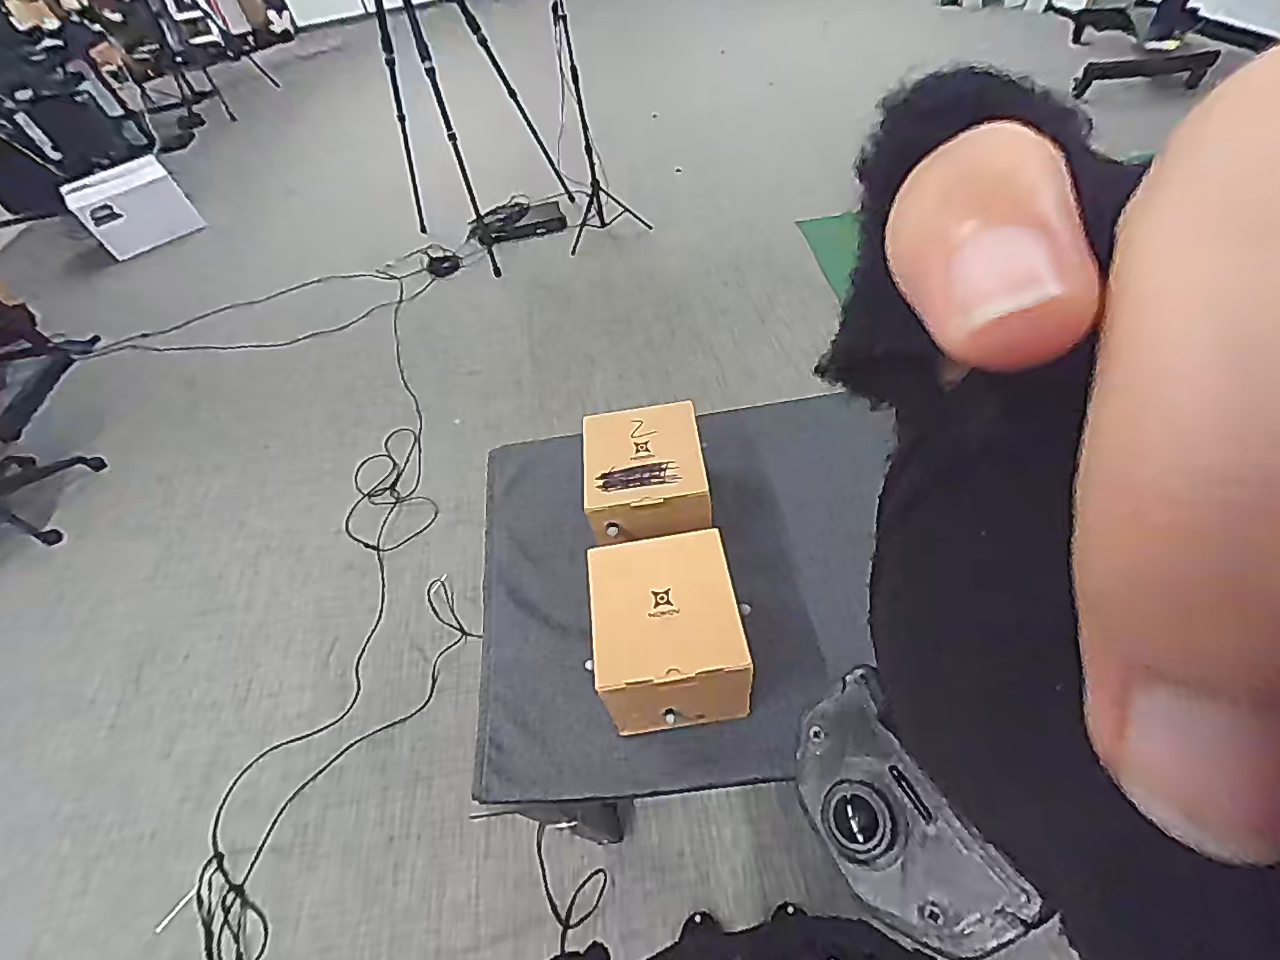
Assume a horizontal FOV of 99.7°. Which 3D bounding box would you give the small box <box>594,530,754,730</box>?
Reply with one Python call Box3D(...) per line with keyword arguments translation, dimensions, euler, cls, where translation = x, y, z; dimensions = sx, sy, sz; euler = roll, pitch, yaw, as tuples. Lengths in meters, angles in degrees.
Box3D(translation=(0.039, 0.190, 0.678), dimensions=(0.168, 0.176, 0.179), euler=(-10, 50, 1), cls="small box")
